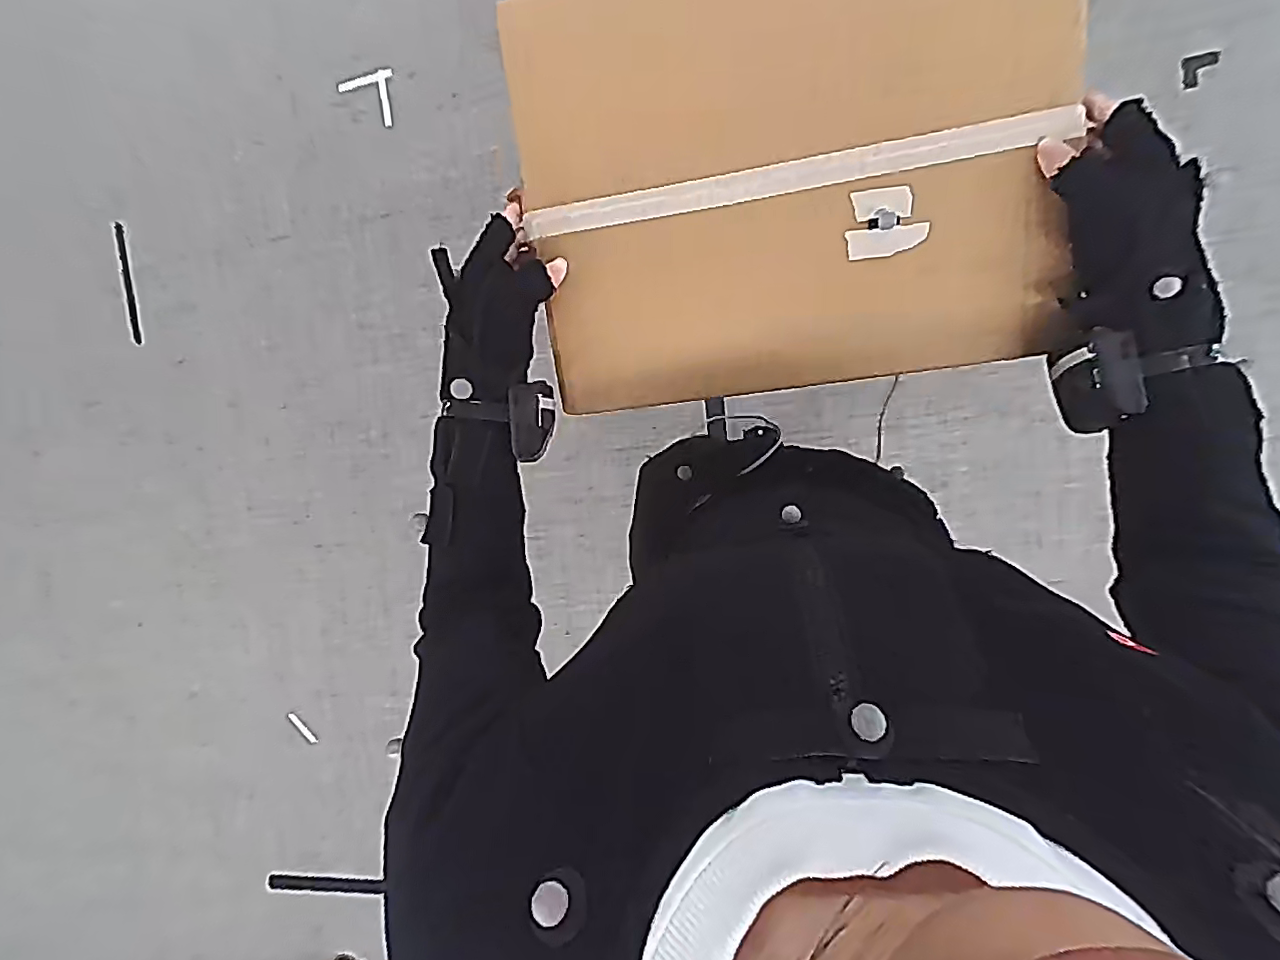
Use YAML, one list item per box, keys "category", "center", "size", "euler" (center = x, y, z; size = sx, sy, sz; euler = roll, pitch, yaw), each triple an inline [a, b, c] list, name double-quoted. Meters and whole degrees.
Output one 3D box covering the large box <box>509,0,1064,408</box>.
- category: "large box"
  center: [0.128, -0.267, 0.568]
  size: [0.408, 0.320, 0.320]
  euler: [-6, 102, 8]
